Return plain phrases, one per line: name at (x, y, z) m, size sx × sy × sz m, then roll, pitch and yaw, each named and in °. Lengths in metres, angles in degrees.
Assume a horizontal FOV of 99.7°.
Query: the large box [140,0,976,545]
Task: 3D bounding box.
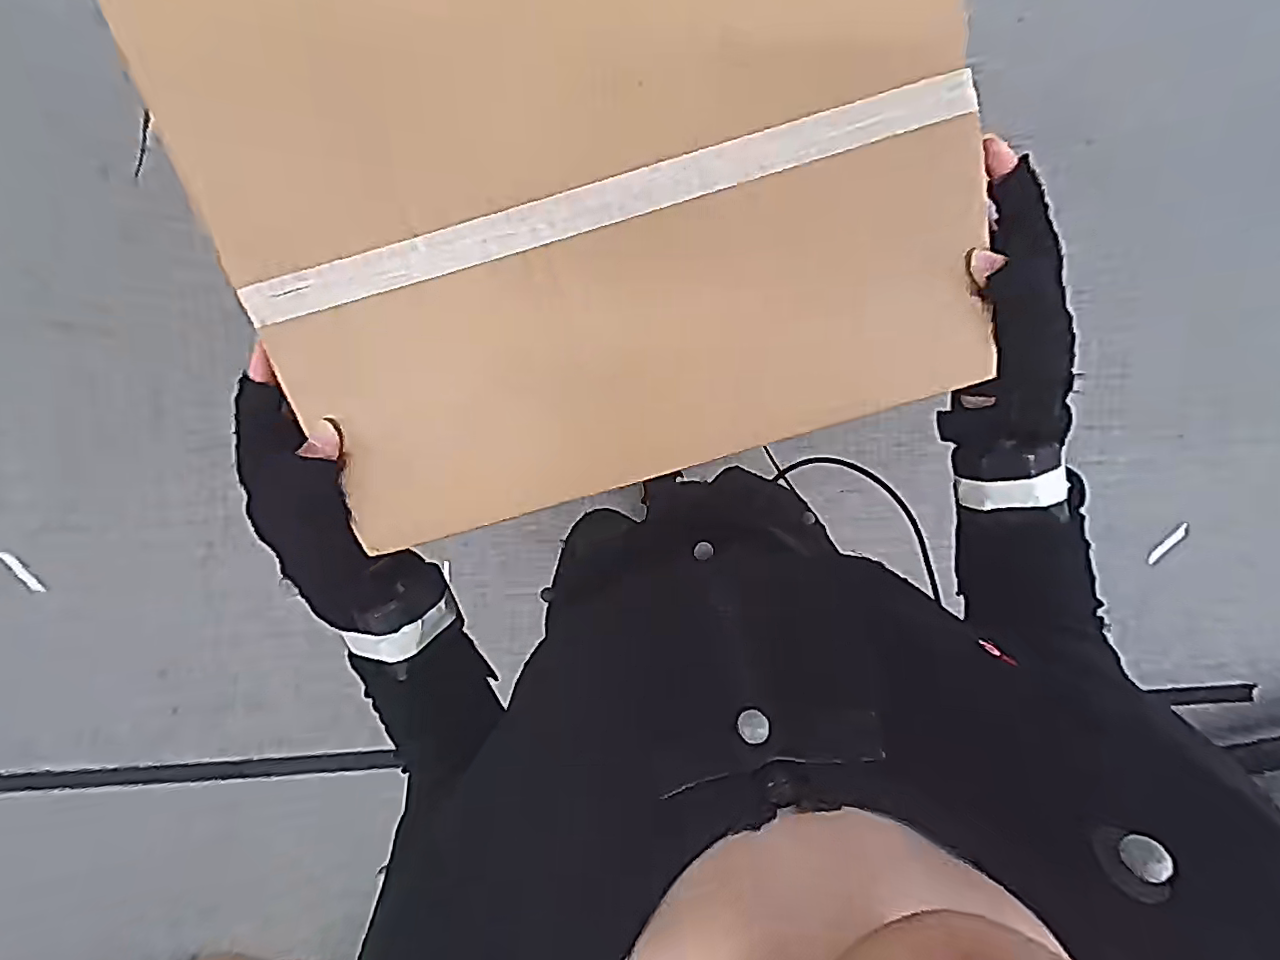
large box at (-0.023, -0.195, 0.444) m, size 0.408 × 0.320 × 0.320 m, roll -15°, pitch 107°, yaw 1°
